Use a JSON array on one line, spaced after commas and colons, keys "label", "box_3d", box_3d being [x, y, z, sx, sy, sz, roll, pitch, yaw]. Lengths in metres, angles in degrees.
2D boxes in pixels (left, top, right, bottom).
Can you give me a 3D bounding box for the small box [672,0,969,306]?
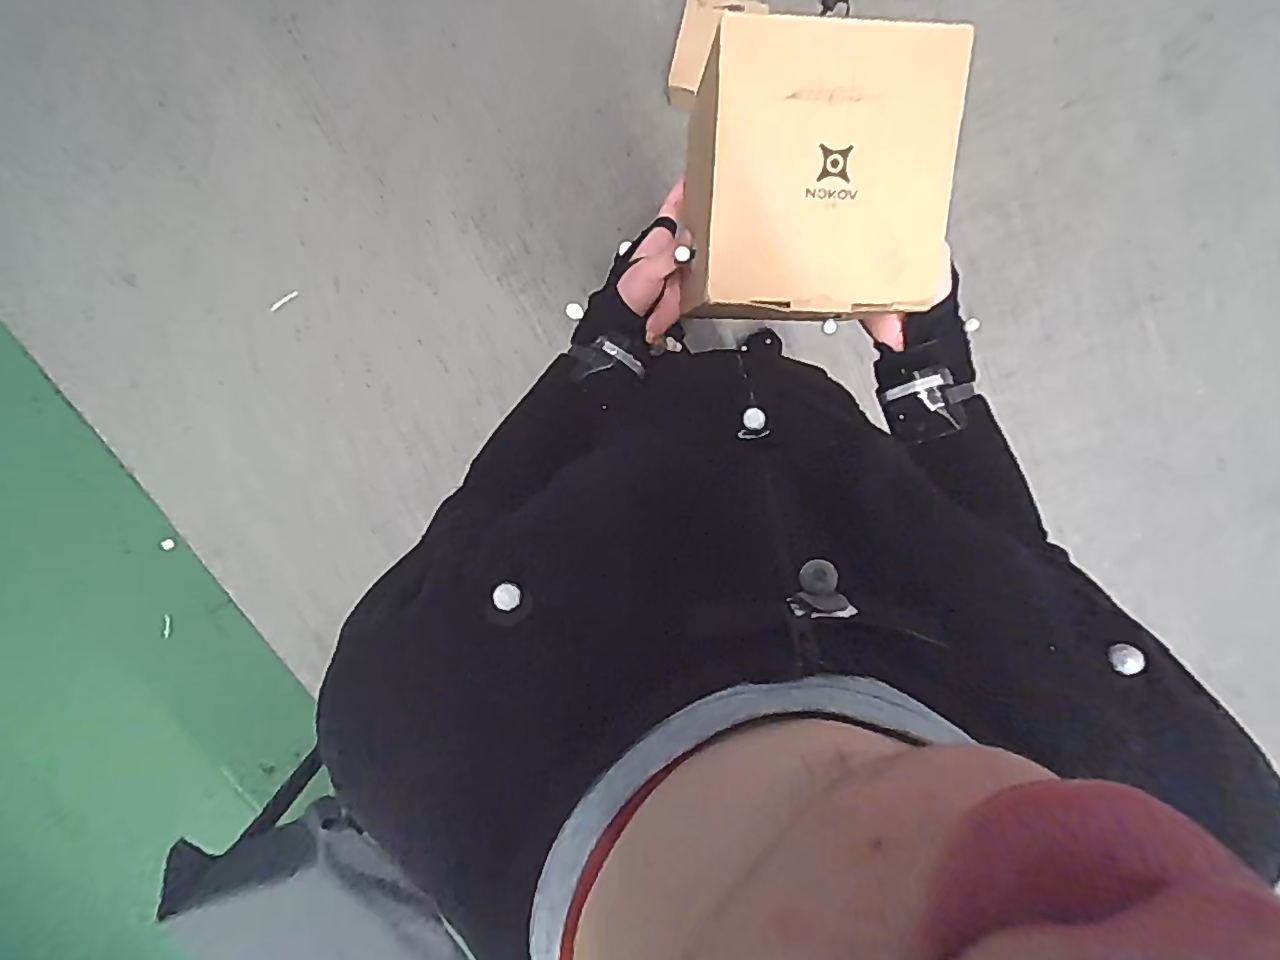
[{"label": "small box", "box_3d": [0.118, -0.237, 0.432, 0.168, 0.176, 0.179, 1, 104, -4]}]
